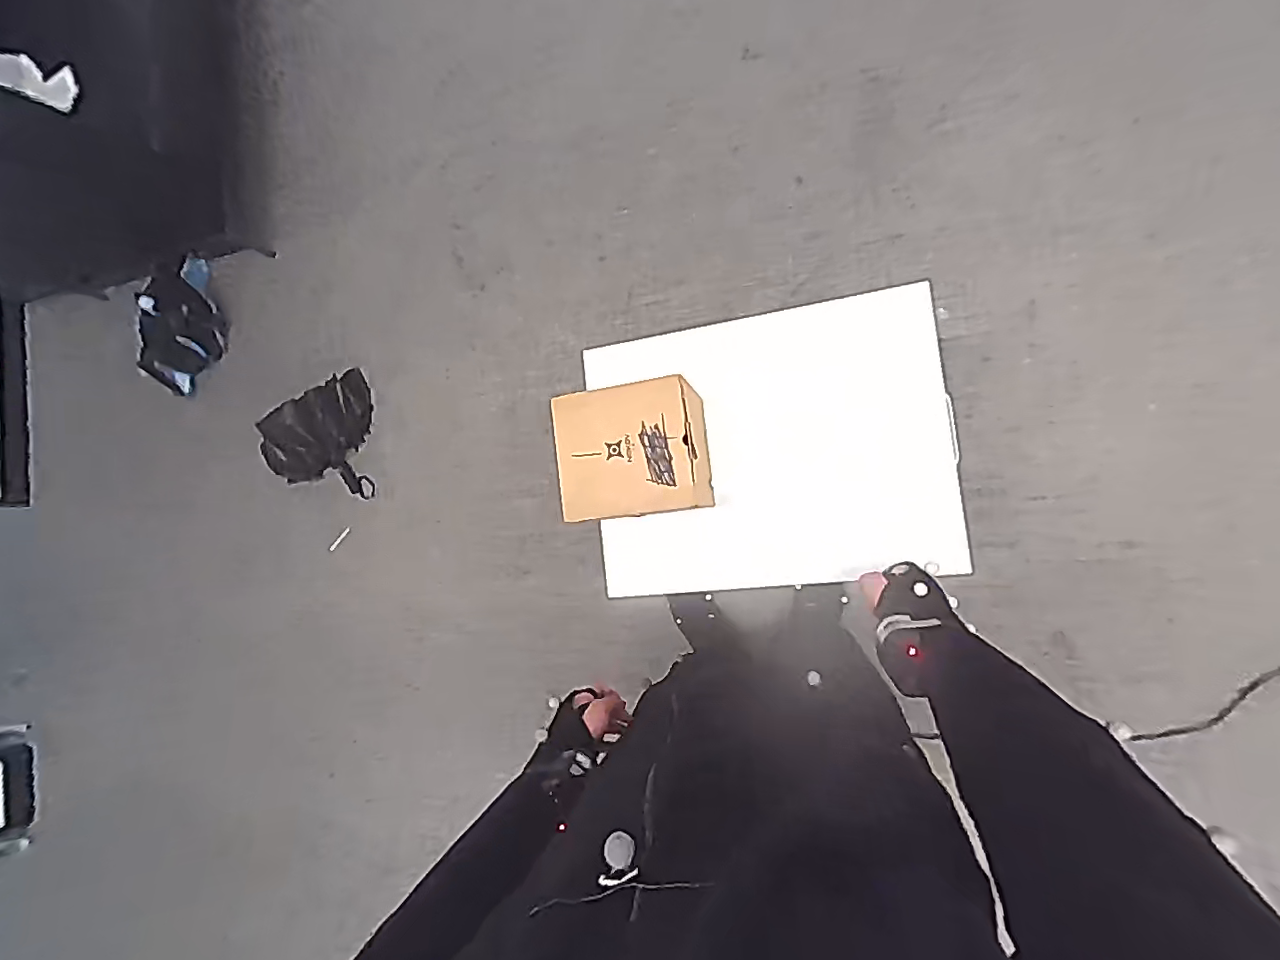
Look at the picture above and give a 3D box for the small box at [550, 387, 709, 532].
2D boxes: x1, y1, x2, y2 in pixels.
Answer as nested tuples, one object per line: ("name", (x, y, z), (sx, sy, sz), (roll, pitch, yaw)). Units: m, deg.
("small box", (-0.004, -0.021, 0.751), (0.179, 0.176, 0.168), (-8, 85, 16))
